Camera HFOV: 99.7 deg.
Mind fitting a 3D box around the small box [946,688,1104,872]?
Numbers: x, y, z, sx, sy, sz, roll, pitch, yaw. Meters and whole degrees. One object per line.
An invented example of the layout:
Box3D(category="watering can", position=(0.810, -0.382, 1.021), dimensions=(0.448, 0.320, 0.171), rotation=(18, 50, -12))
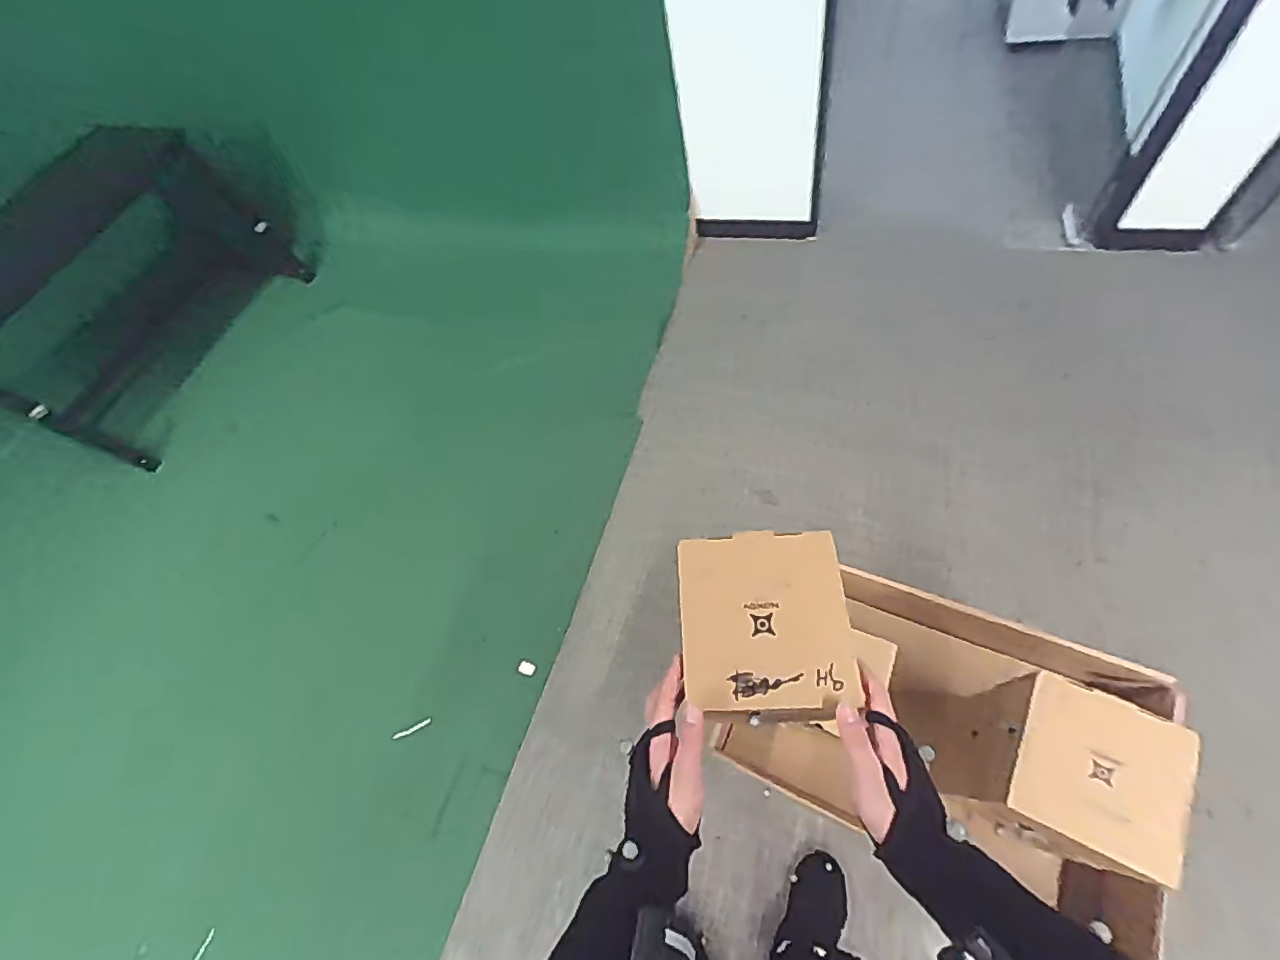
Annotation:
Box3D(category="small box", position=(0.599, 0.451, 0.833), dimensions=(0.168, 0.176, 0.179), rotation=(23, 70, 23))

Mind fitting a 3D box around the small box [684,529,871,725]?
Box3D(category="small box", position=(0.136, 0.170, 0.601), dimensions=(0.168, 0.176, 0.179), rotation=(-4, 62, 7))

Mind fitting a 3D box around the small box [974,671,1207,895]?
Box3D(category="small box", position=(0.560, 0.375, 0.694), dimensions=(0.168, 0.176, 0.179), rotation=(22, 70, 23))
